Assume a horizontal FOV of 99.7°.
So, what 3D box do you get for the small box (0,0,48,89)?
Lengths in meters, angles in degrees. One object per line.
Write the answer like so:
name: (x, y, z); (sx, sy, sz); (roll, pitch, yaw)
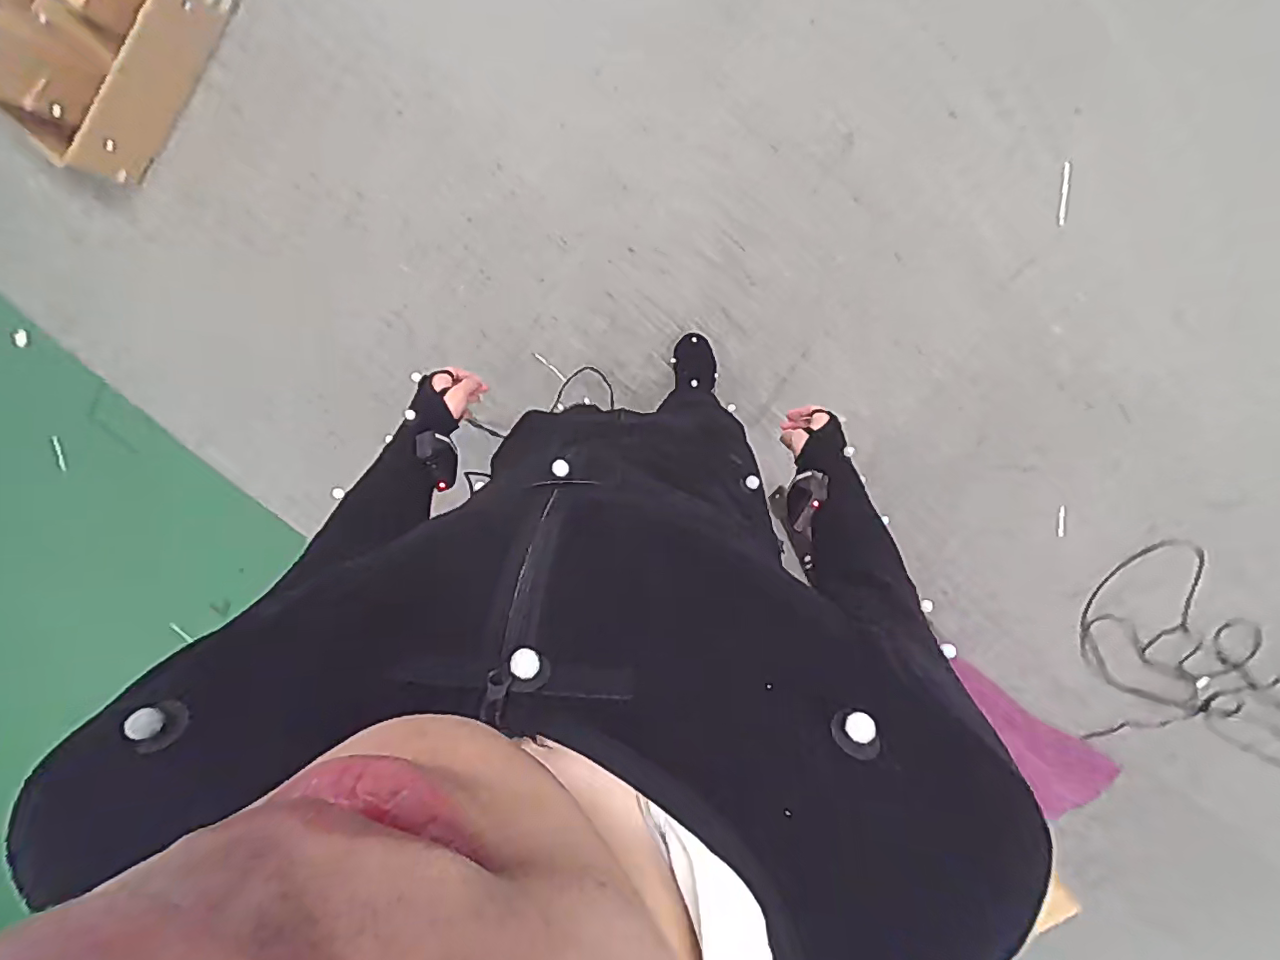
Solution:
small box: (-1.483, -1.020, 1.186); (0.179, 0.176, 0.168); (-35, 99, 12)
